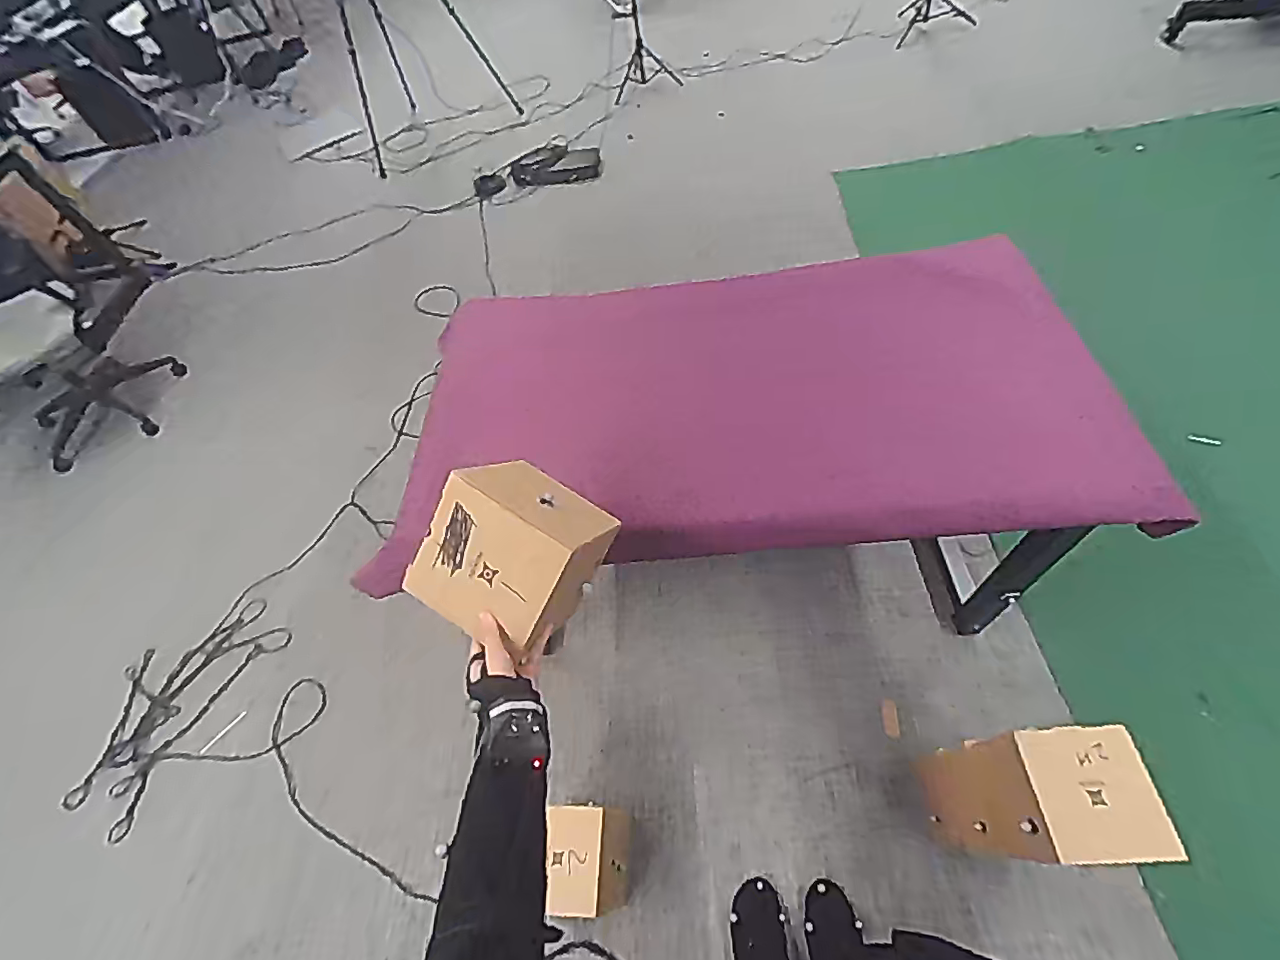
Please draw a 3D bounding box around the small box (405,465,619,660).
[{"bbox_3d":[-0.156,0.091,0.701,0.179,0.176,0.168,32,103,11],"label":"small box"}]

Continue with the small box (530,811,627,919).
[{"bbox_3d":[-0.124,0.829,1.176,0.168,0.176,0.179,-3,56,8],"label":"small box"}]

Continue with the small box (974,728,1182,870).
[{"bbox_3d":[0.670,0.502,0.856,0.168,0.176,0.179,-6,57,6],"label":"small box"}]

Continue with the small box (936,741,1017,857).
[{"bbox_3d":[0.678,0.587,0.999,0.168,0.176,0.179,-7,57,5],"label":"small box"}]
